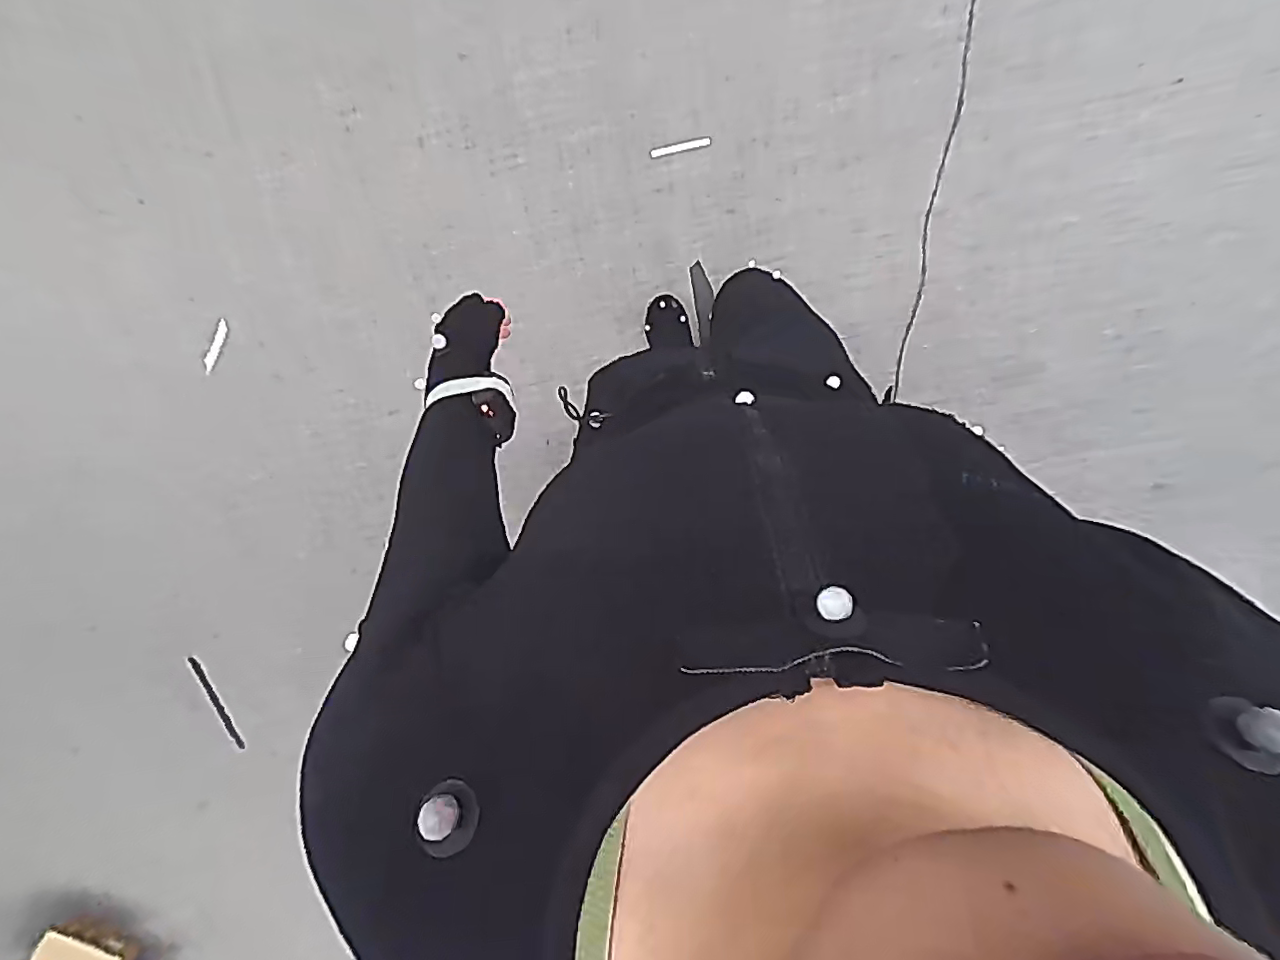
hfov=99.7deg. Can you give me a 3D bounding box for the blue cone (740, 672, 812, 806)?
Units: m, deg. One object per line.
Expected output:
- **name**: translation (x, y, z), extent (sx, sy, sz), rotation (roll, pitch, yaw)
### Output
- **blue cone**: translation (0.418, 0.749, 1.547), extent (0.193, 0.380, 0.192), rotation (-26, 105, 10)
